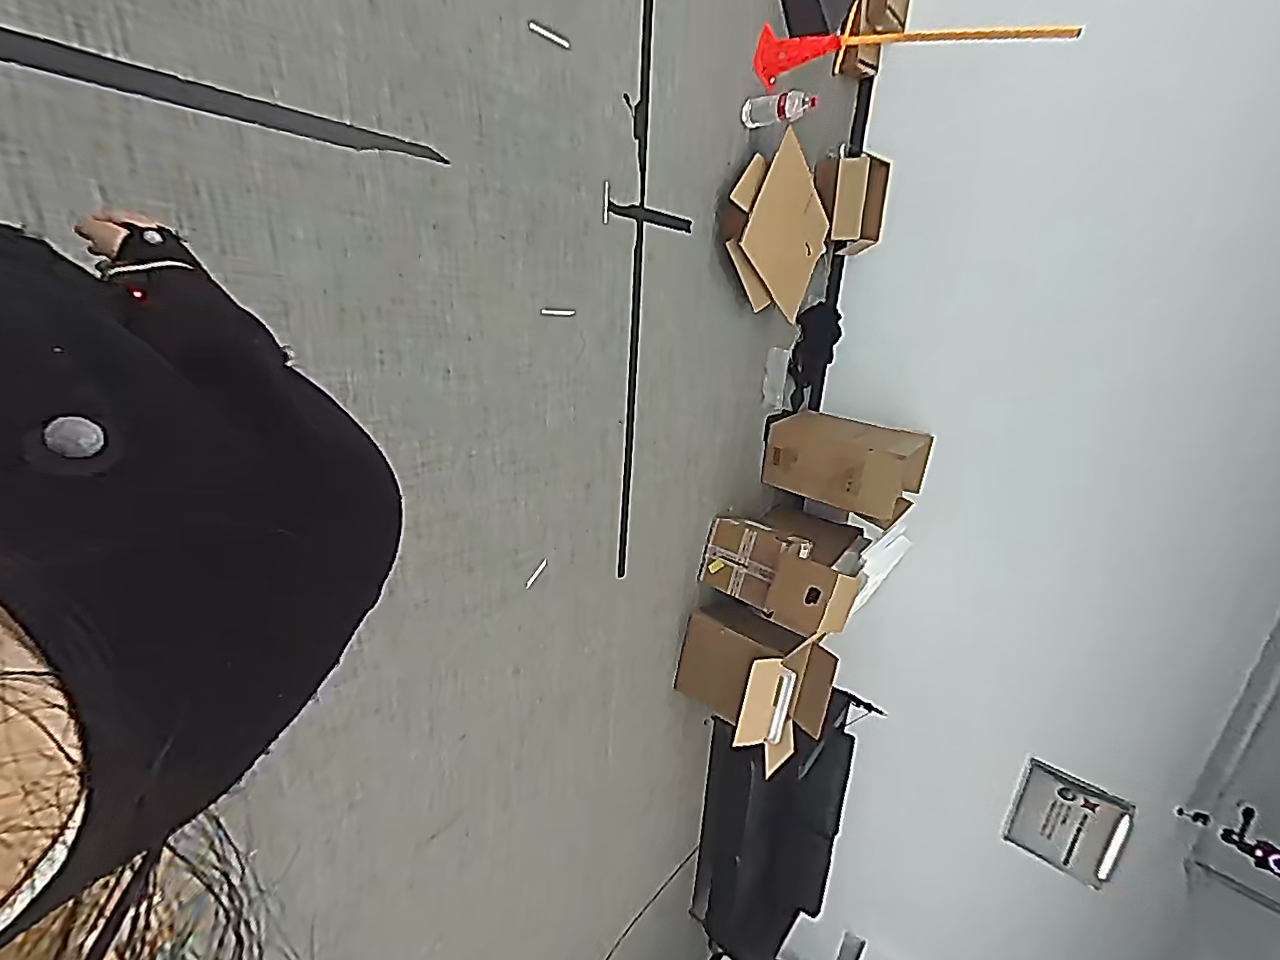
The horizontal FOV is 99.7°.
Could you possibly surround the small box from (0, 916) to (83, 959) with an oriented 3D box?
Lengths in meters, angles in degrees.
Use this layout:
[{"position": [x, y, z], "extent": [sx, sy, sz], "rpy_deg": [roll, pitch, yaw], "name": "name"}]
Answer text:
[{"position": [-1.076, 0.915, 0.924], "extent": [0.179, 0.176, 0.168], "rpy_deg": [-19, 117, -46], "name": "small box"}]
